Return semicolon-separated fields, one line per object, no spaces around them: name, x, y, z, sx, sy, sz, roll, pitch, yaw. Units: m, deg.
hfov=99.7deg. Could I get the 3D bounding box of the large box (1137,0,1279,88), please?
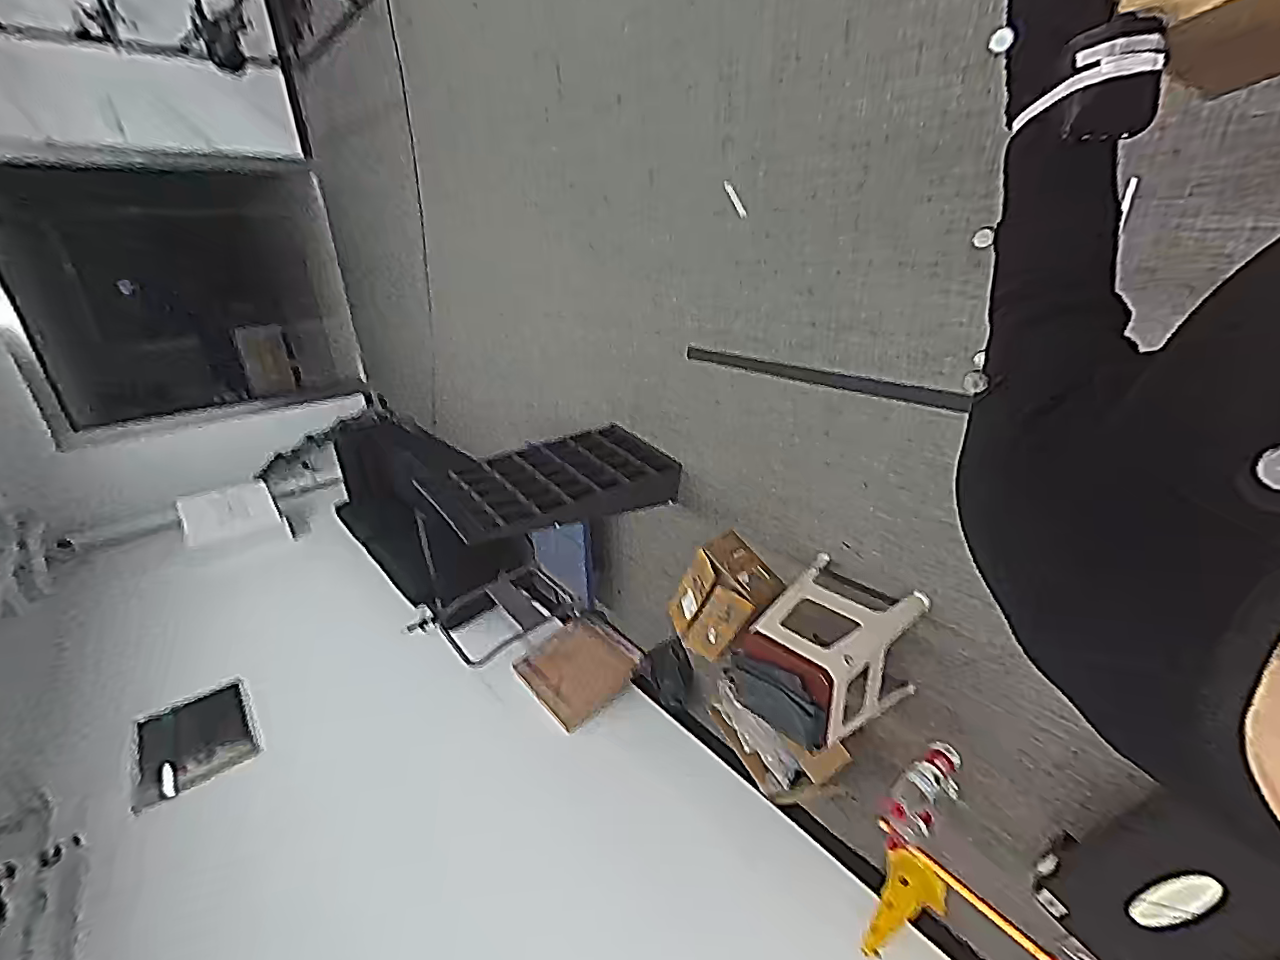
large box;0.547;-0.492;0.276;0.408;0.320;0.320;3;109;53
